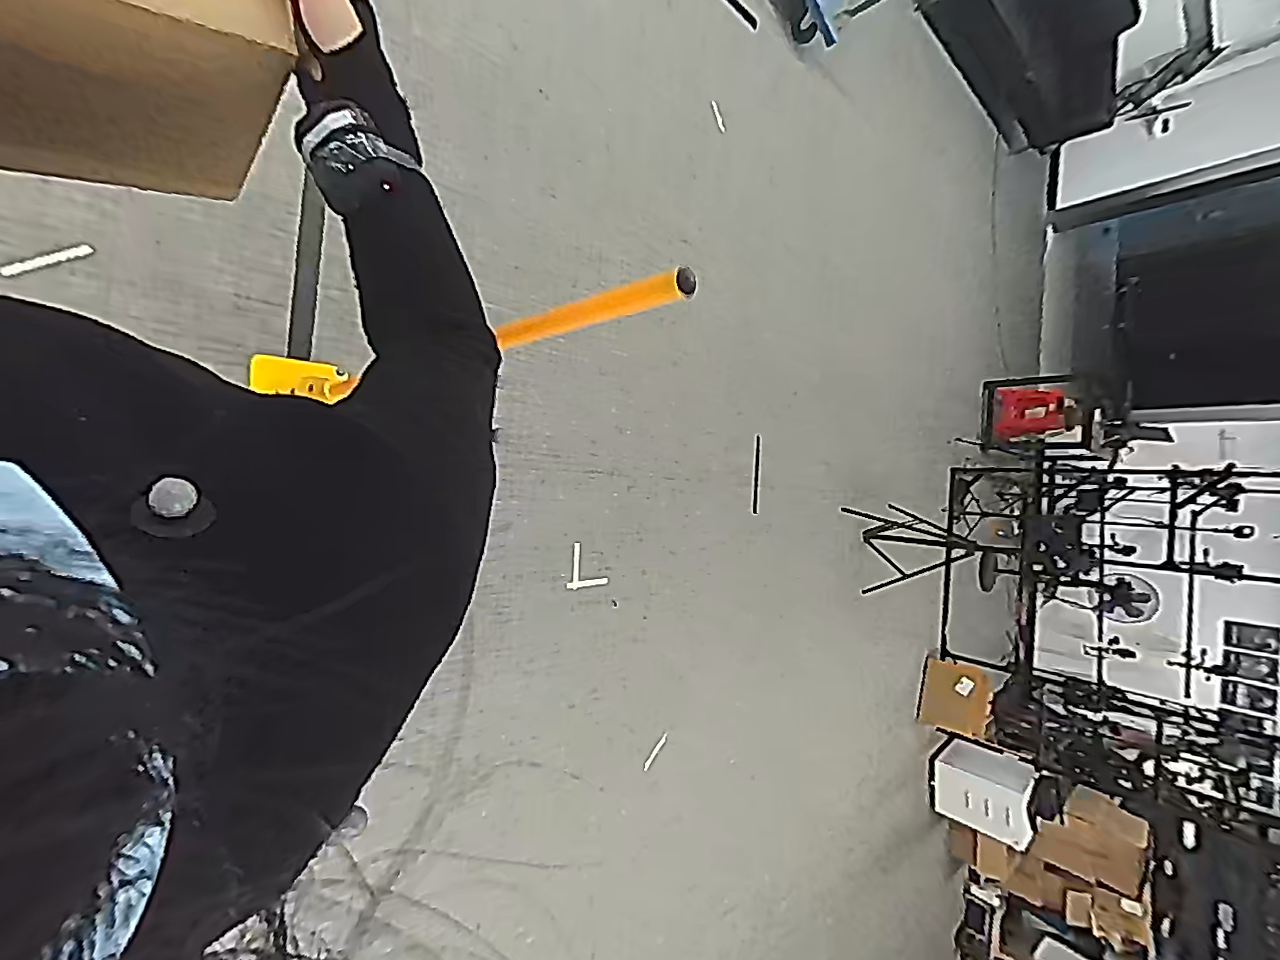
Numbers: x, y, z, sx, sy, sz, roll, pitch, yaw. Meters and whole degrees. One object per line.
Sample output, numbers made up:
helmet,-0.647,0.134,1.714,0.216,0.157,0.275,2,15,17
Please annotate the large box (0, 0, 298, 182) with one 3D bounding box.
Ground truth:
large box,-0.514,-0.440,0.356,0.408,0.320,0.320,-14,101,-42
